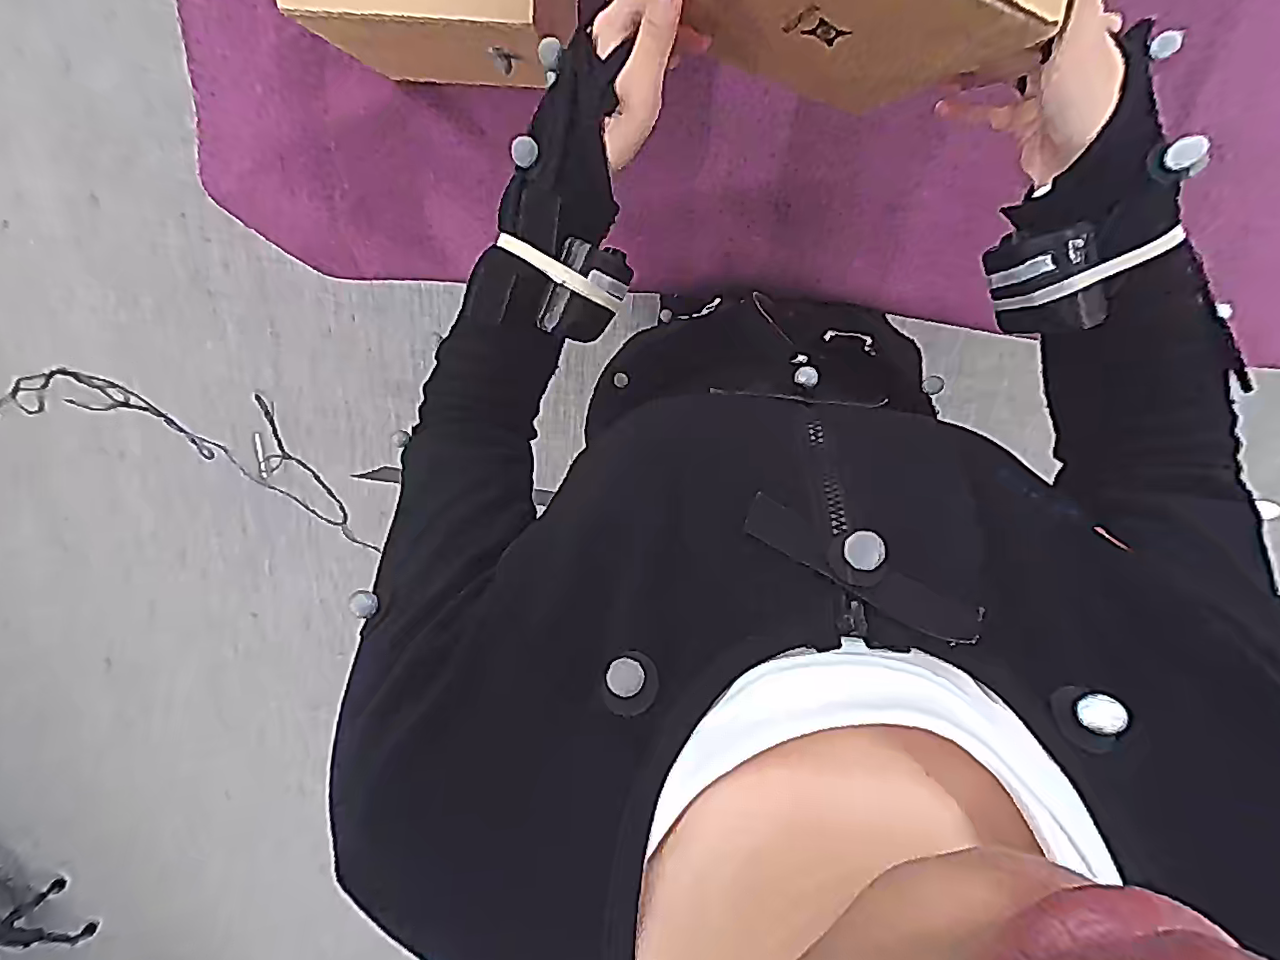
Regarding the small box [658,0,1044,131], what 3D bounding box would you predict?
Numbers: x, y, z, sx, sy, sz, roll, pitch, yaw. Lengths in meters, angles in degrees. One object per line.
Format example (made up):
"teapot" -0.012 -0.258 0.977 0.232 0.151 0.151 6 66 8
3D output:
"small box" 0.110 -0.302 0.247 0.179 0.168 0.176 4 145 -12
